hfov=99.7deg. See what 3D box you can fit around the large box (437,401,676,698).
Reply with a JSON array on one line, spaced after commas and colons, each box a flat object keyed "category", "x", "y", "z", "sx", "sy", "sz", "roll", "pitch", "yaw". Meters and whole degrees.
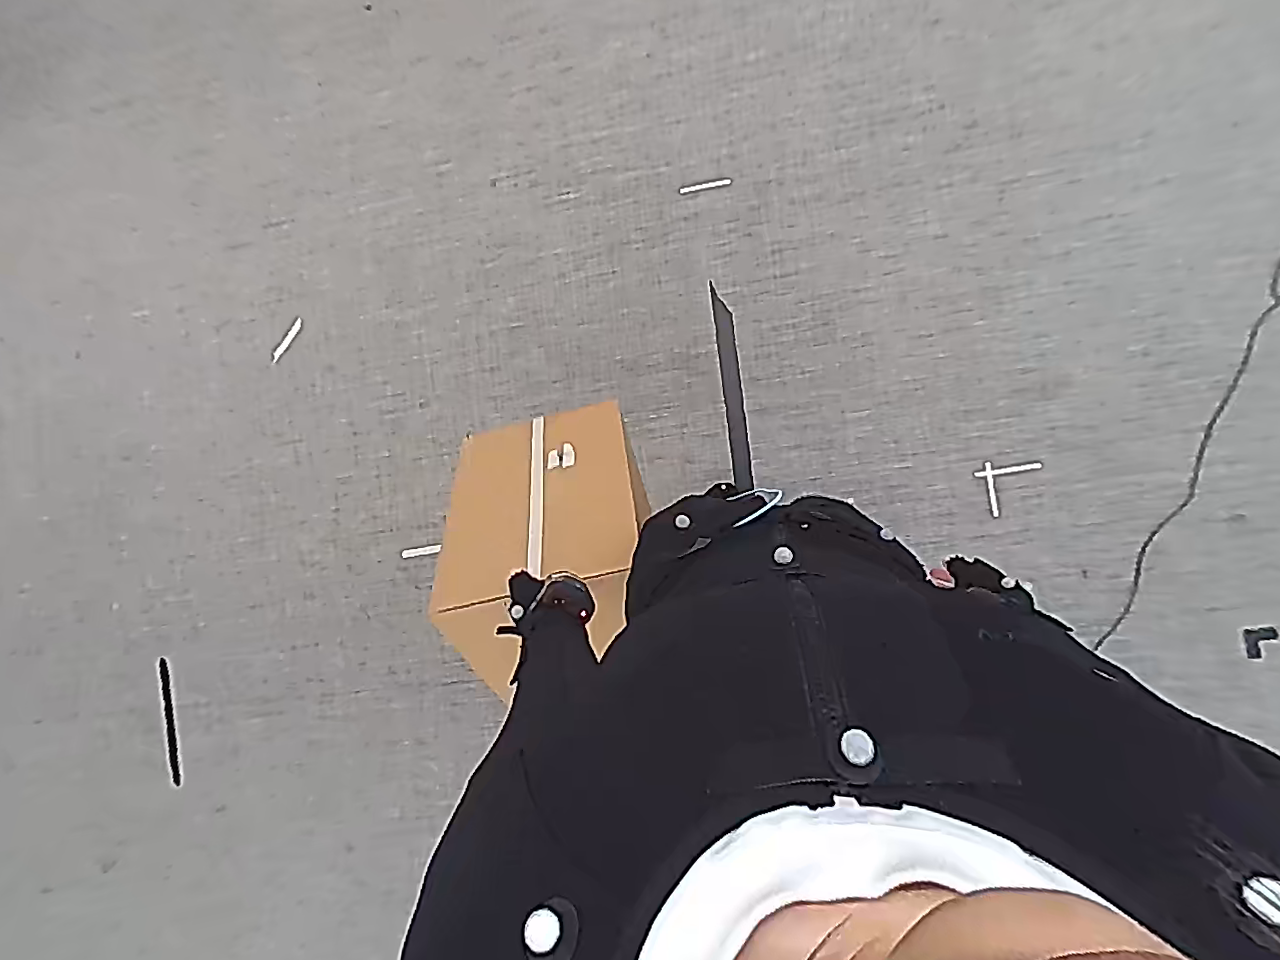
[{"category": "large box", "x": -0.136, "y": 0.121, "z": 0.998, "sx": 0.320, "sy": 0.320, "sz": 0.408, "roll": -12, "pitch": 43, "yaw": 2}]
